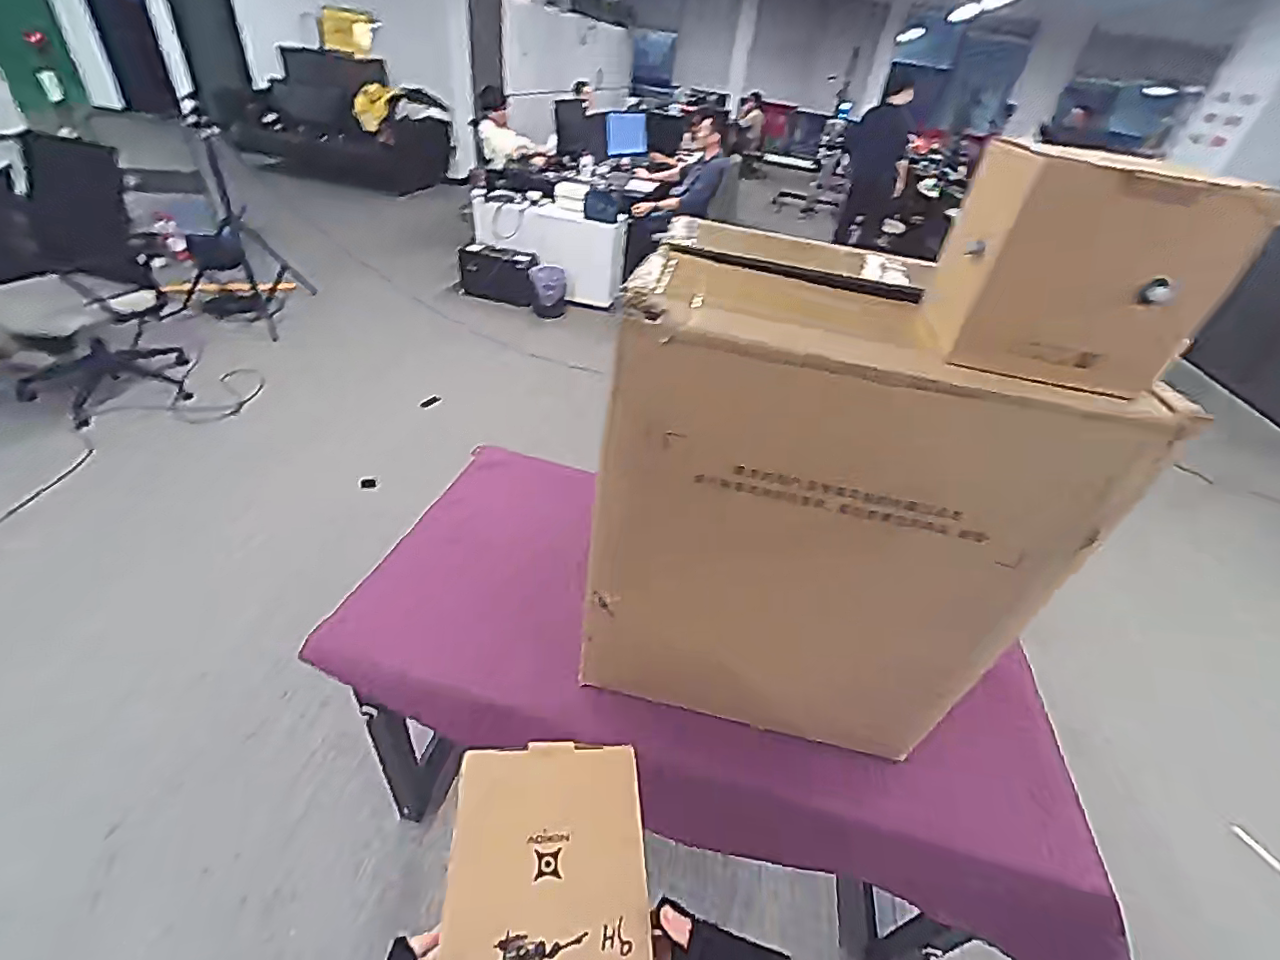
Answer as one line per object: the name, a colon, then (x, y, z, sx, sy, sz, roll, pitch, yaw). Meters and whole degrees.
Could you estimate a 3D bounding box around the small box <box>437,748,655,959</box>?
small box: (-0.089, 0.378, 0.507, 0.168, 0.176, 0.179, 5, 39, -10)

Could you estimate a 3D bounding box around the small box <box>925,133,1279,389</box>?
small box: (0.388, -0.203, 0.494, 0.168, 0.176, 0.179, 15, 37, 8)
